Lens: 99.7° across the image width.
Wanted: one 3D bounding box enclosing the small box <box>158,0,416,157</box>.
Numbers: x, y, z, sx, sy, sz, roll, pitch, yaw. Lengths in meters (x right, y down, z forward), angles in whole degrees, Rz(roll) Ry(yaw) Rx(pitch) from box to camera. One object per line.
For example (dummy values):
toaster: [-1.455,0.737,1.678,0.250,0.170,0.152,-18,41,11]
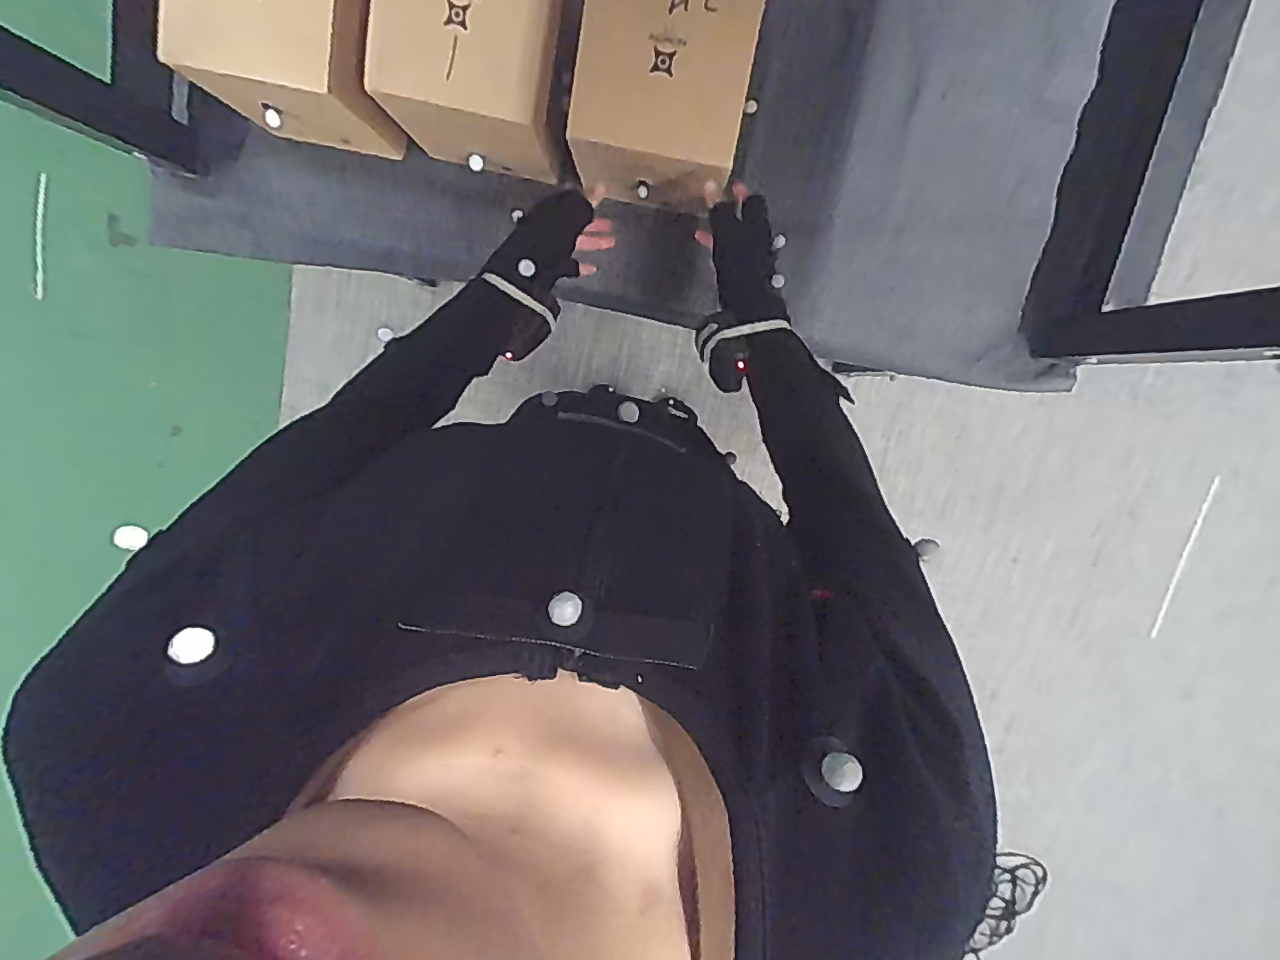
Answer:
small box: [-0.359,-0.479,0.578,0.168,0.176,0.179,11,100,-2]
